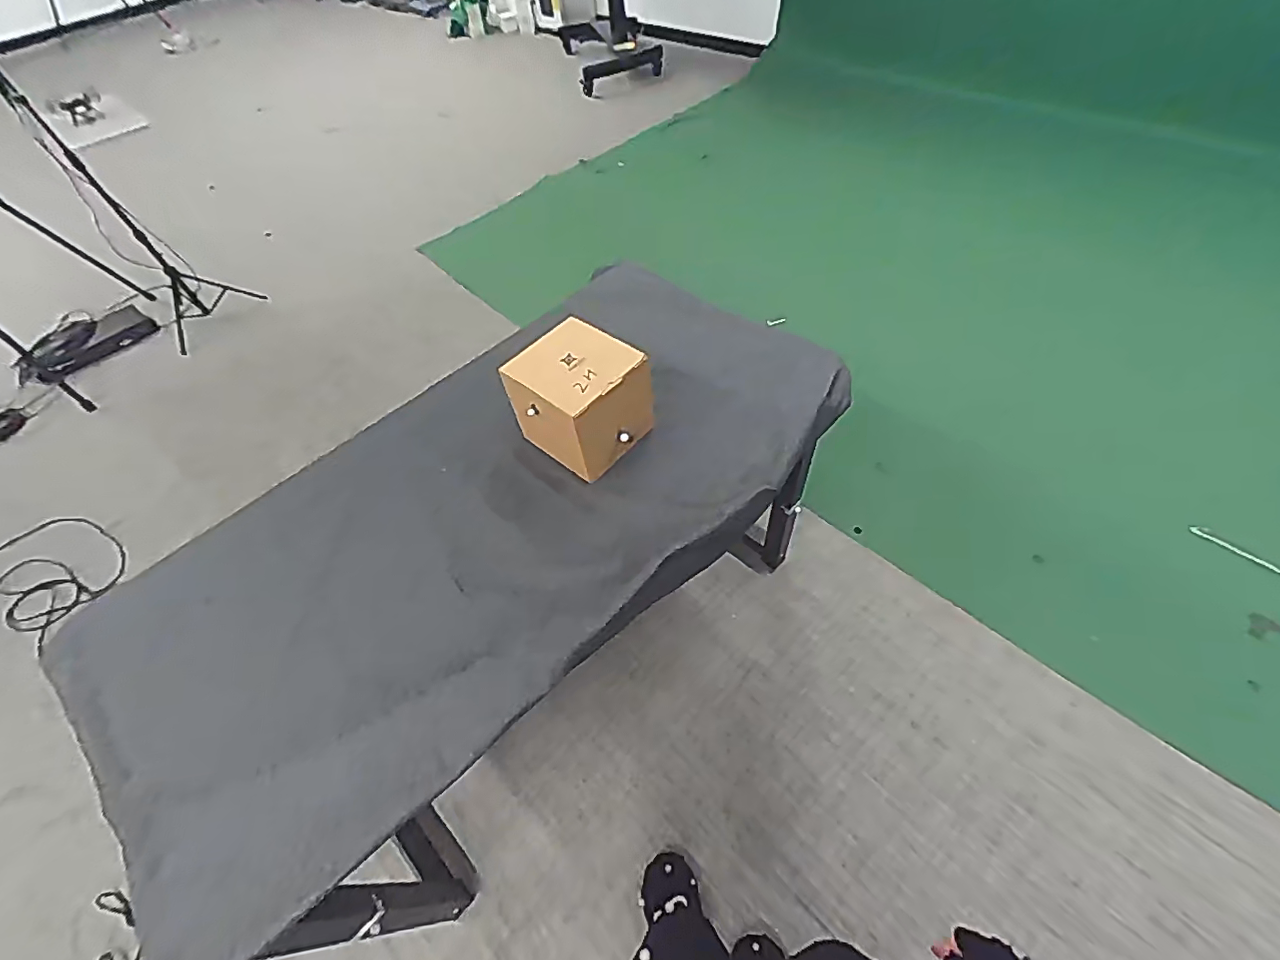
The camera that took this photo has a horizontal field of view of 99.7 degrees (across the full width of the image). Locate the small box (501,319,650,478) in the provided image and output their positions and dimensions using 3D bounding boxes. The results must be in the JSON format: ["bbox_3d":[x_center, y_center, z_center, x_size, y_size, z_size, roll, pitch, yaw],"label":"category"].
[{"bbox_3d":[-0.100,-0.134,0.913,0.179,0.176,0.168,34,64,26],"label":"small box"}]
